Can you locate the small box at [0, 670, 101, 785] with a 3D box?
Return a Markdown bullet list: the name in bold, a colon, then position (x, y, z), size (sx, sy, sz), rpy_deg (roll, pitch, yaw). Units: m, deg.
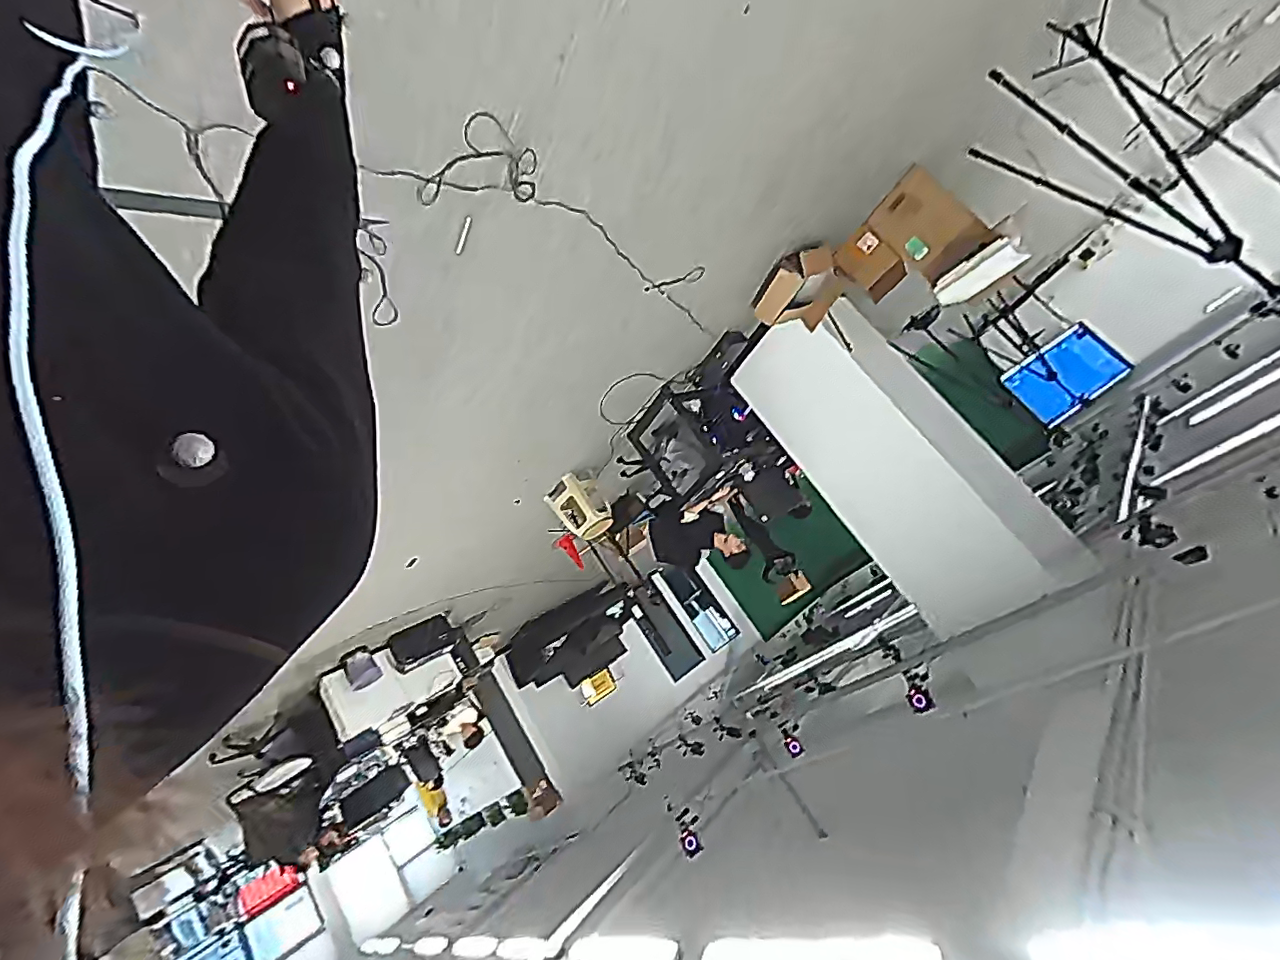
- **small box**: position (-1.414, 0.573, 1.268), size (0.168, 0.176, 0.179), rpy_deg (-19, 158, -43)
